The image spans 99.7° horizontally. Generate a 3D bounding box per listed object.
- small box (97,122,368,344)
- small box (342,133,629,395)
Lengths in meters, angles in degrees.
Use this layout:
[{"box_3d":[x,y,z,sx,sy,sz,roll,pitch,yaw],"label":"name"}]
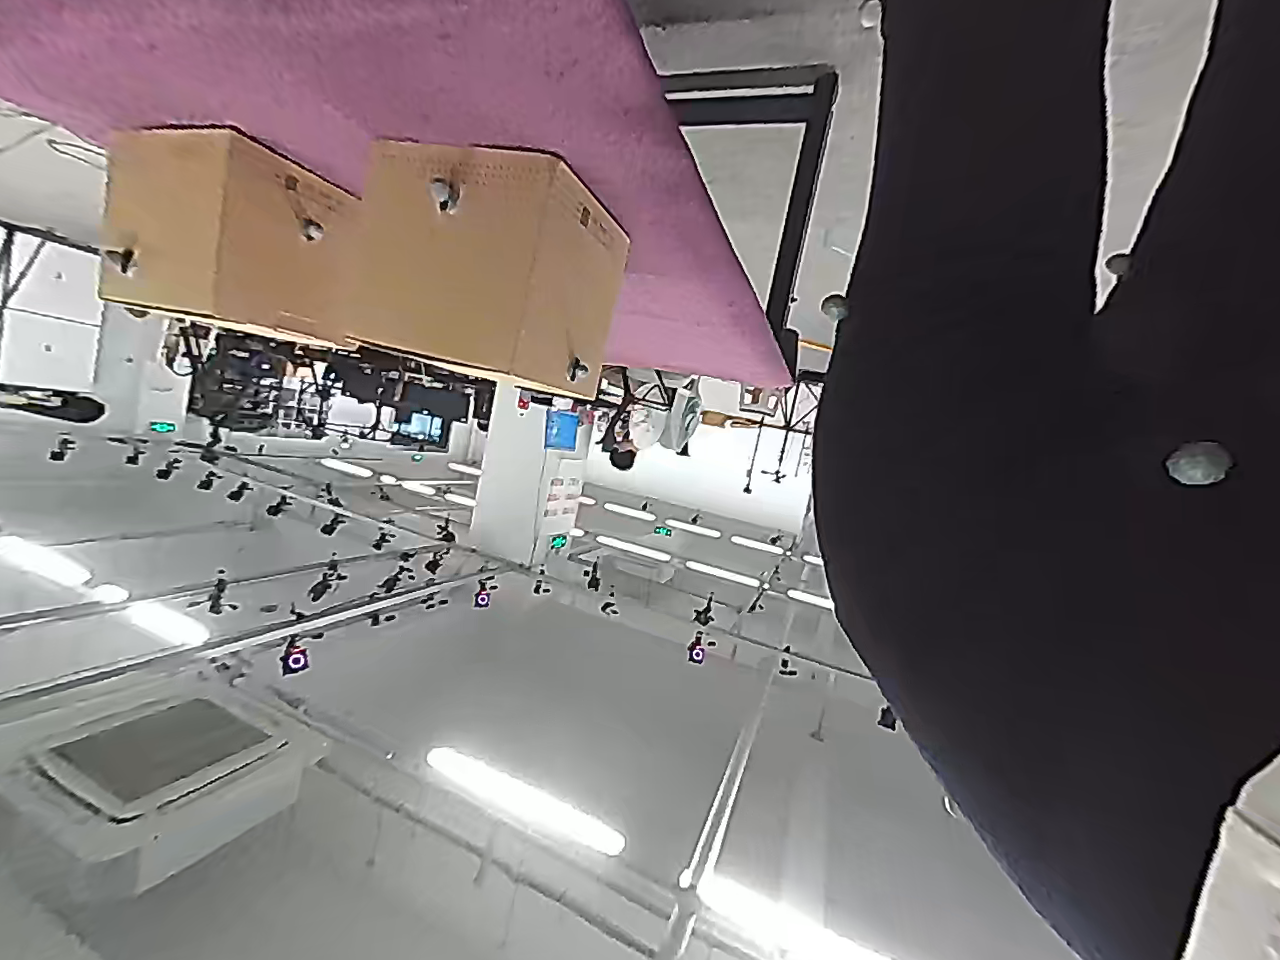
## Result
[{"box_3d":[-0.425,-0.258,0.585,0.179,0.176,0.168,12,-174,18],"label":"small box"},{"box_3d":[-0.130,-0.189,0.500,0.179,0.176,0.168,16,-174,17],"label":"small box"}]
